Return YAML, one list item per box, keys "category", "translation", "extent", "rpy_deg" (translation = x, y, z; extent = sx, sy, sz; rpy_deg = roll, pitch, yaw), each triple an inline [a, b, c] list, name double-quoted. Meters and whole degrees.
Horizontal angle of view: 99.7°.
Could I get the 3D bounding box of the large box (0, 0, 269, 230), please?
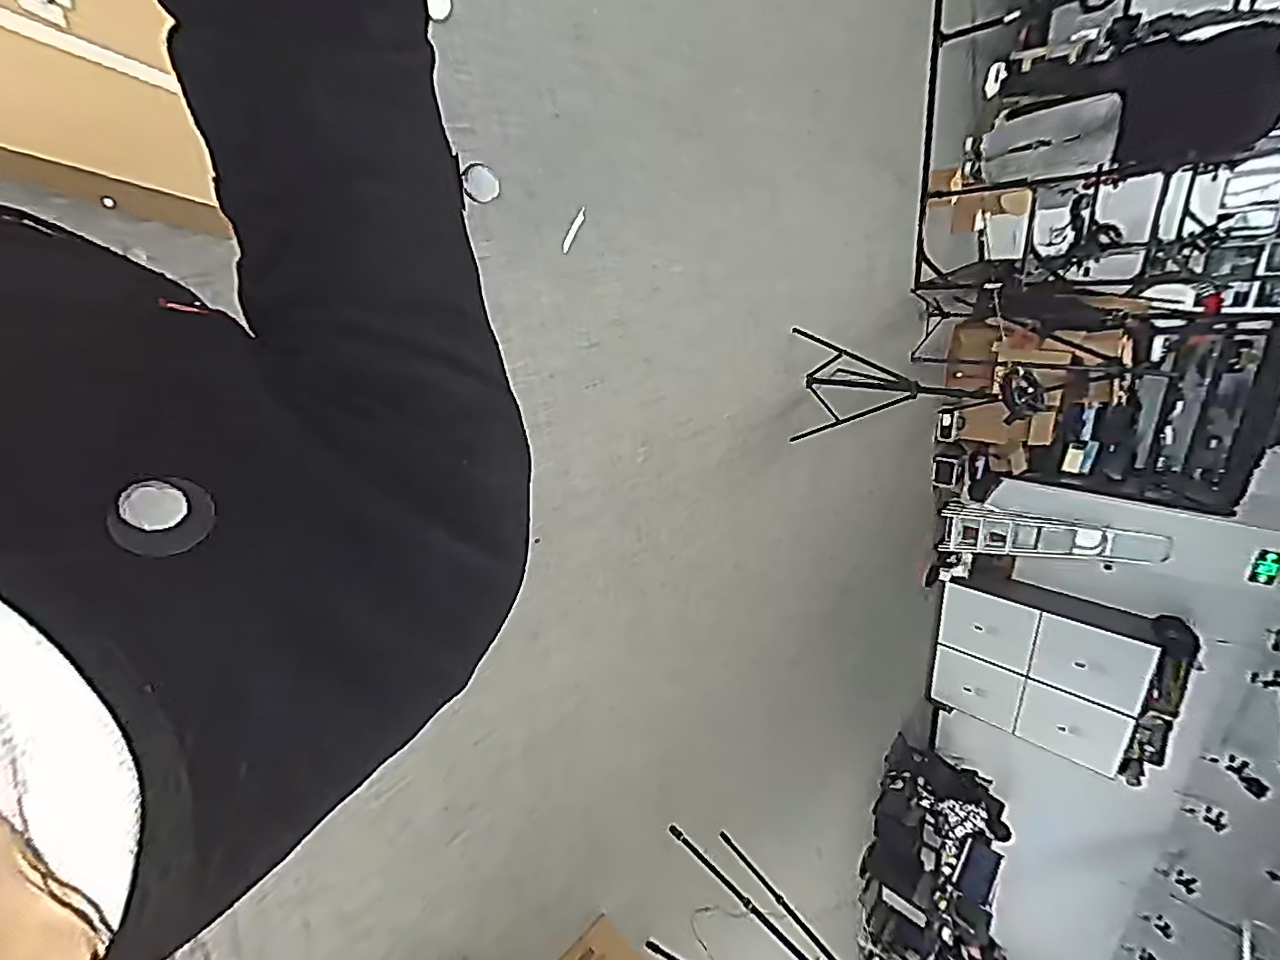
- category: "large box"
  translation: [-0.877, -0.637, 0.885]
  extent: [0.408, 0.320, 0.320]
  rpy_deg: [-2, 102, -45]
